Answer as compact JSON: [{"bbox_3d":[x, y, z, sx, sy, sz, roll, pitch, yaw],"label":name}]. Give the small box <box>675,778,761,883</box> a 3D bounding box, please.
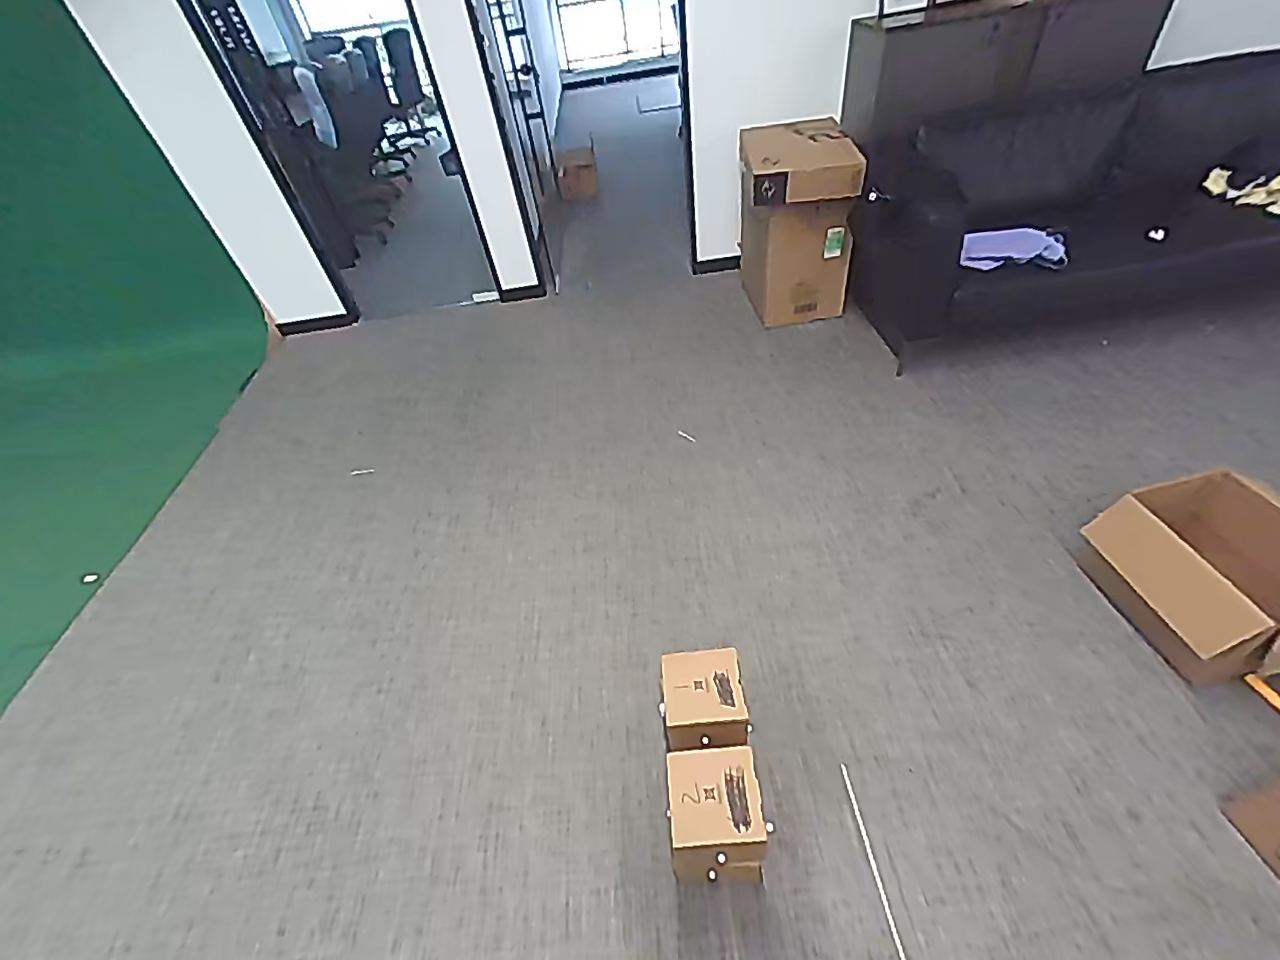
[{"bbox_3d":[0.171,0.777,1.197,0.179,0.176,0.168,-3,45,6],"label":"small box"}]
